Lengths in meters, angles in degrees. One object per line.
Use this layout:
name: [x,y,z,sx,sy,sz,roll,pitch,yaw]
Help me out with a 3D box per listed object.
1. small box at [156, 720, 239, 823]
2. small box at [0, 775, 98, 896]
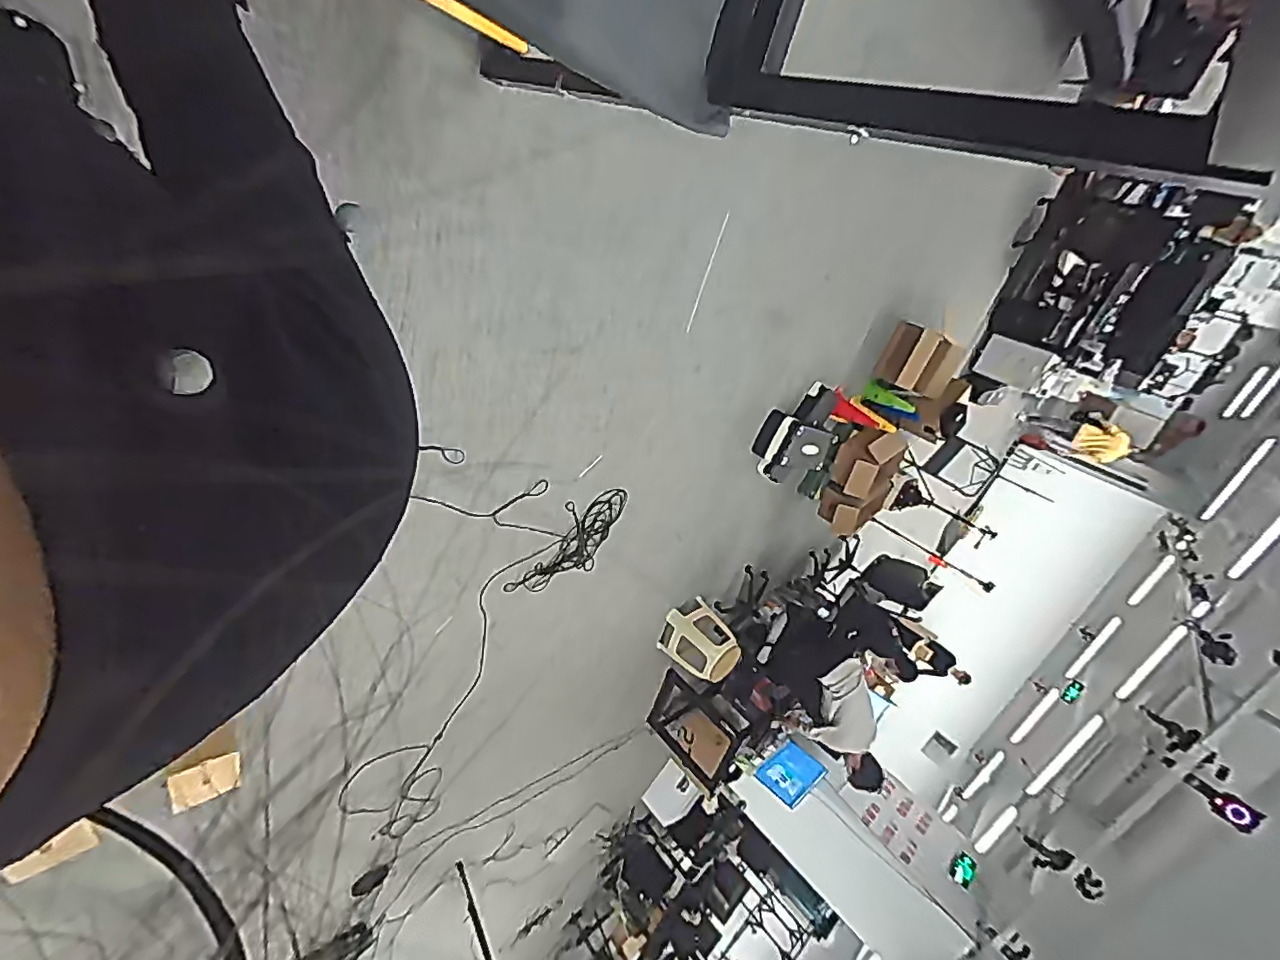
small box: [-1.328,0.868,1.627,0.168,0.176,0.179,-12,127,-45]
small box: [-1.548,0.907,1.401,0.168,0.176,0.179,-15,130,-42]
